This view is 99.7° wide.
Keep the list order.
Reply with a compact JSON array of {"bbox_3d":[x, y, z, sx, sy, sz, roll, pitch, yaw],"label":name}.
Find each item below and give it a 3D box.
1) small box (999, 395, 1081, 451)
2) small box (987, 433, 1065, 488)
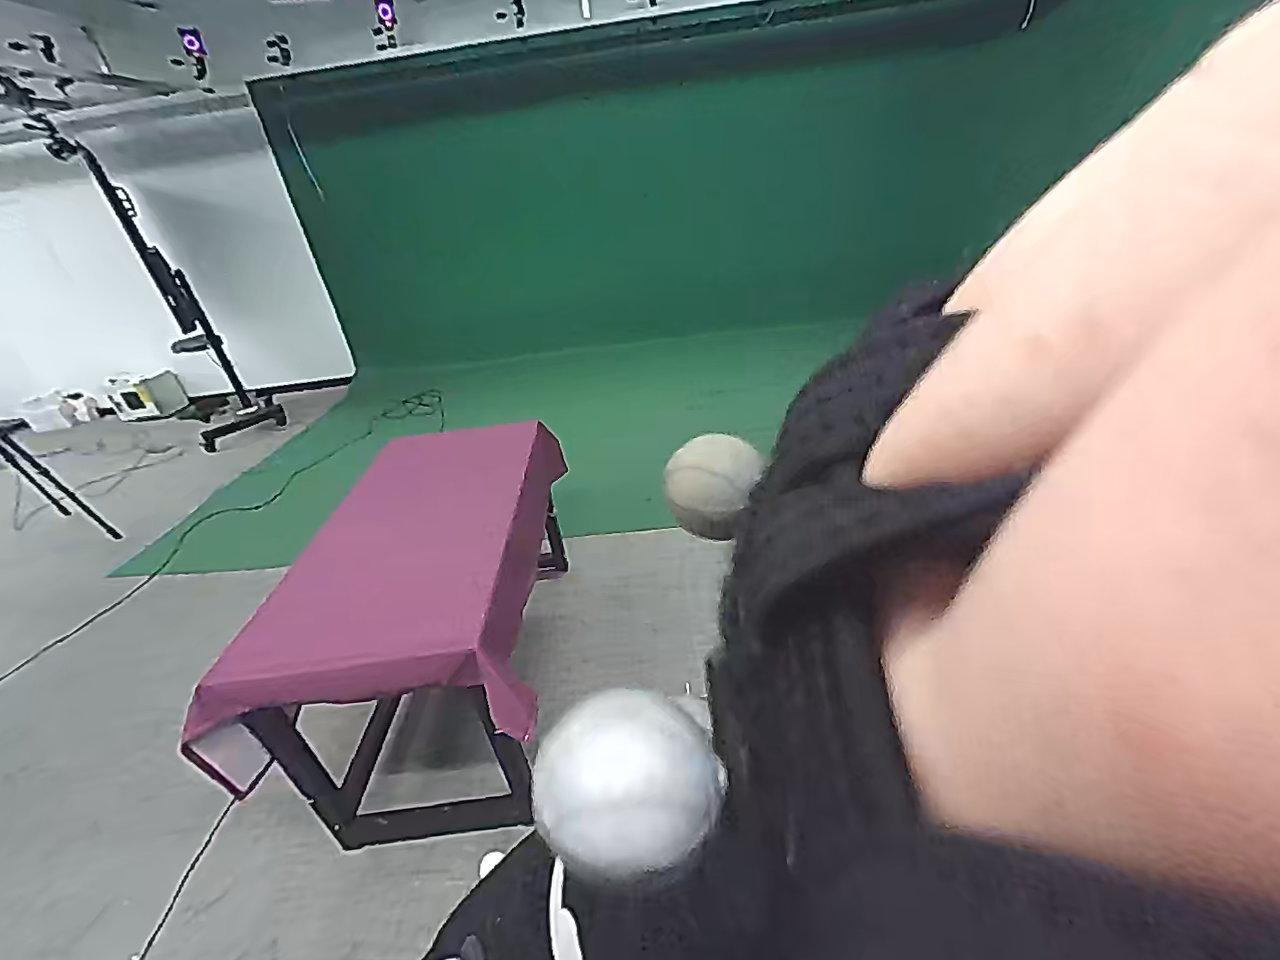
[{"bbox_3d":[1.468,-0.219,2.002,0.179,0.176,0.168,-8,31,-3],"label":"small box"},{"bbox_3d":[1.480,-0.078,2.085,0.168,0.176,0.179,-7,29,1],"label":"small box"}]
